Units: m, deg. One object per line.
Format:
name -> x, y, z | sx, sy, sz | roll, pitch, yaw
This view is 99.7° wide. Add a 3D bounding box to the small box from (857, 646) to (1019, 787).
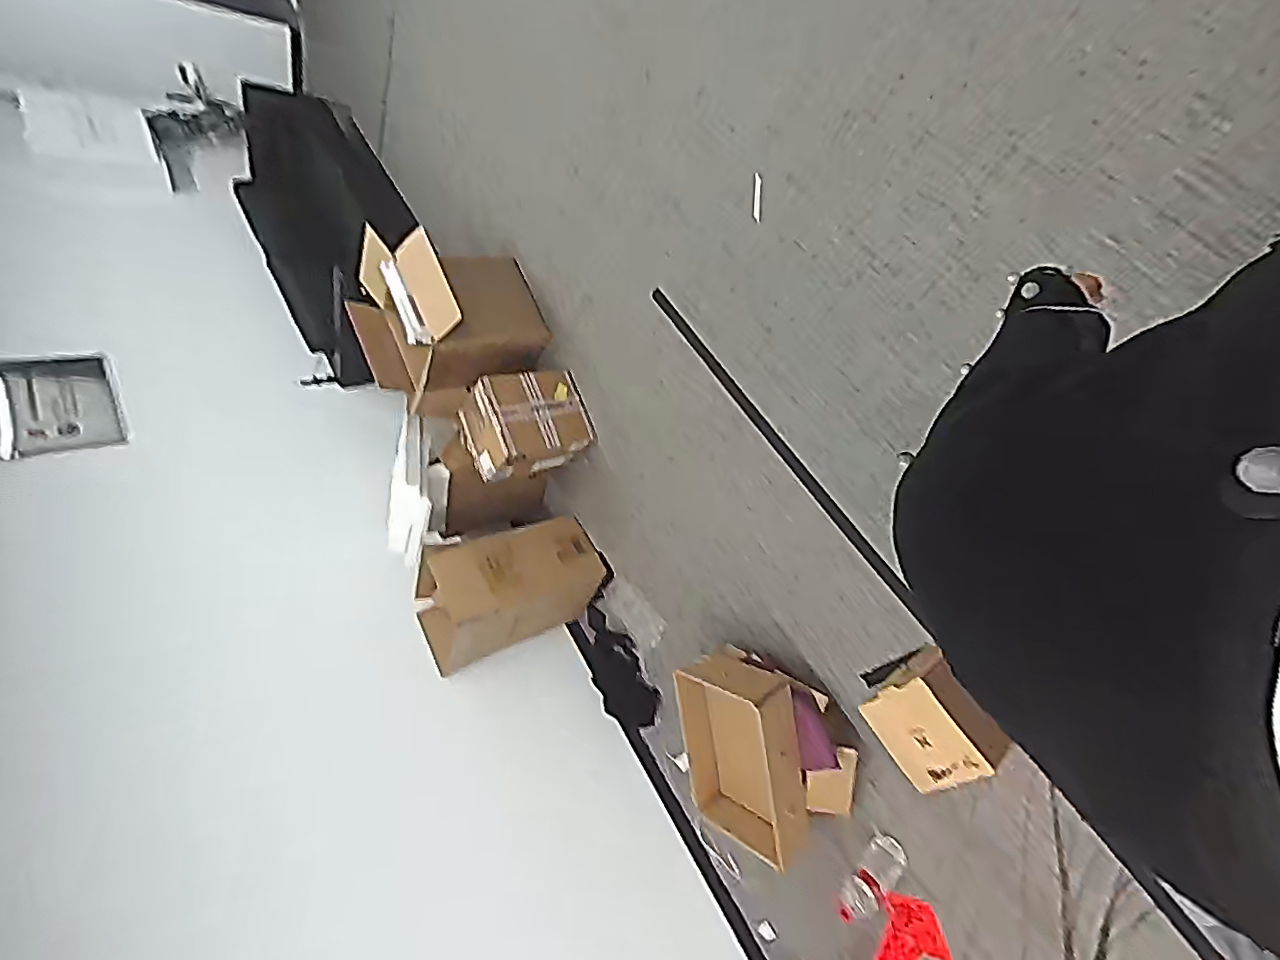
small box -> 0.558, 0.434, 1.018 | 0.179, 0.176, 0.168 | 57, 138, 22
